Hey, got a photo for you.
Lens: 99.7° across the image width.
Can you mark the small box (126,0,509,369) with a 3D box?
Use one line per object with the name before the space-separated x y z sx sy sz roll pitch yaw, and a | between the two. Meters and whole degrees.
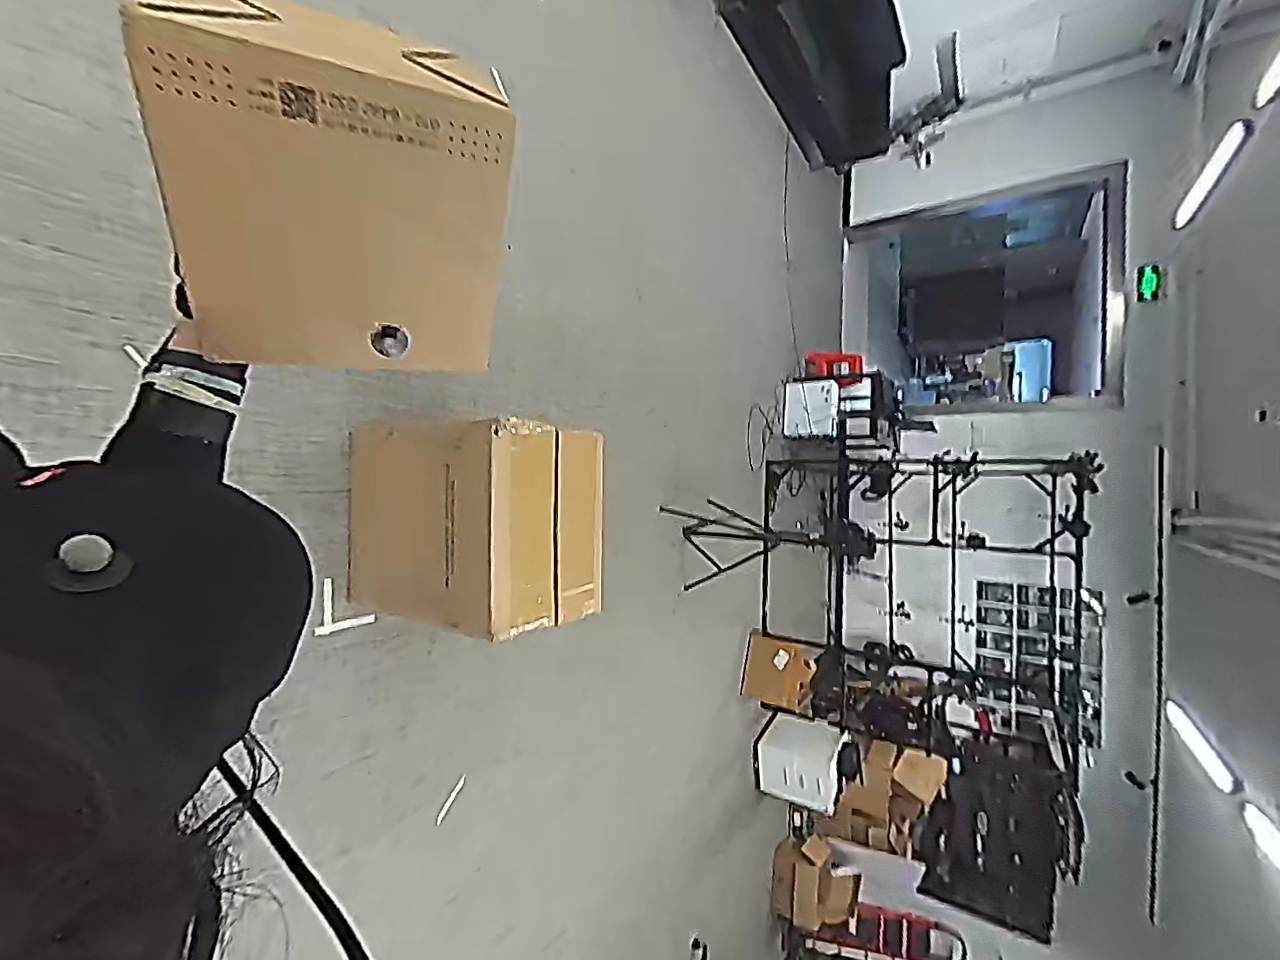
small box | -0.192 -0.195 0.353 0.168 0.179 0.176 -3 135 -28
